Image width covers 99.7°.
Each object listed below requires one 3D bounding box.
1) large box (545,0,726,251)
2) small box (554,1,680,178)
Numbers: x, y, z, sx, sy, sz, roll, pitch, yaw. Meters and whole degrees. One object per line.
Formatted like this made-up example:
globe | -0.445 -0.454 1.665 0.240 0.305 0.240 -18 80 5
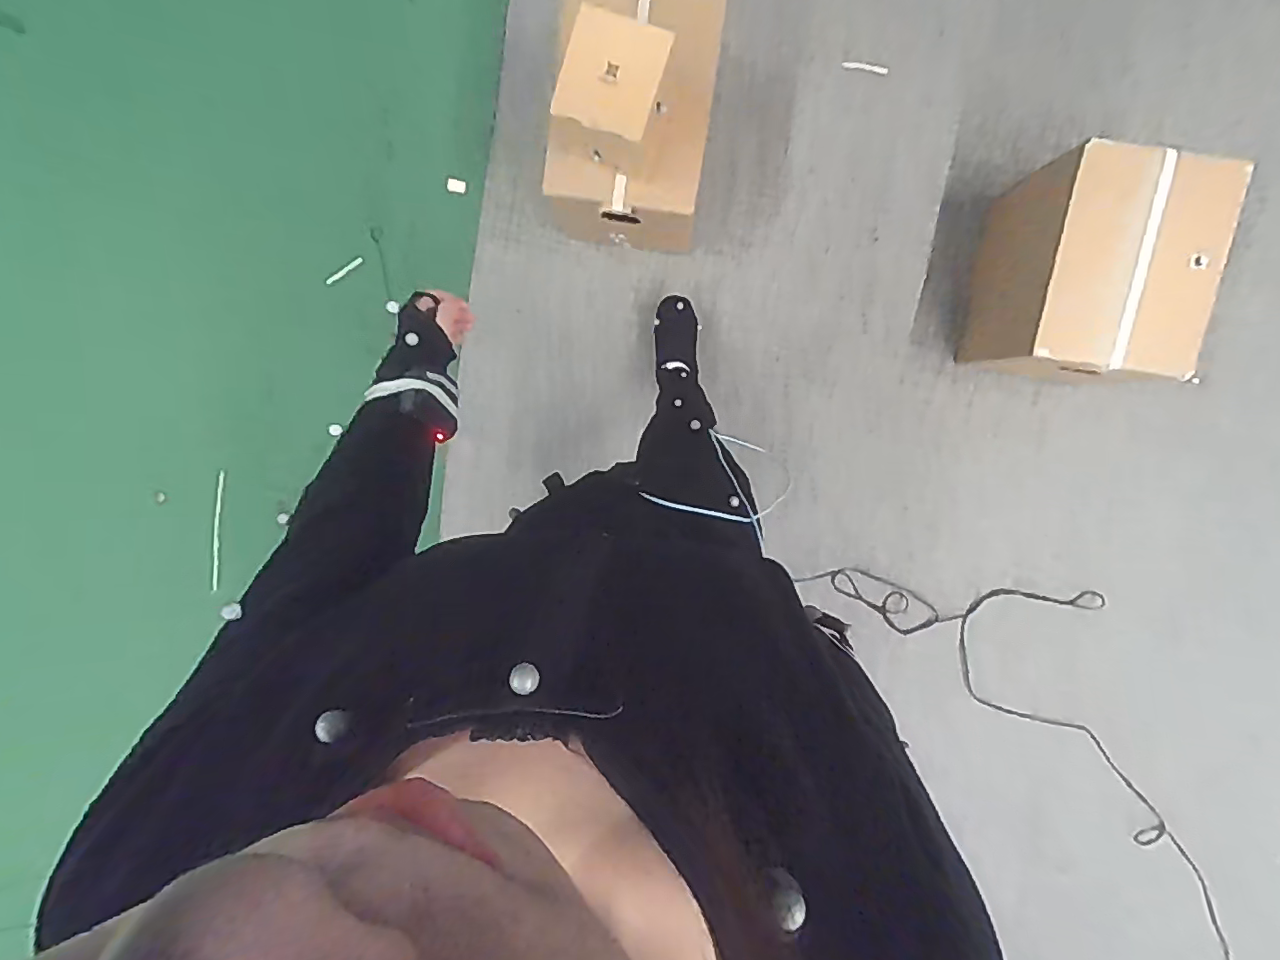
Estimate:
large box | -0.004 -0.769 1.200 0.320 0.320 0.408 9 98 2
small box | -0.035 -0.683 0.968 0.168 0.176 0.179 20 100 2
